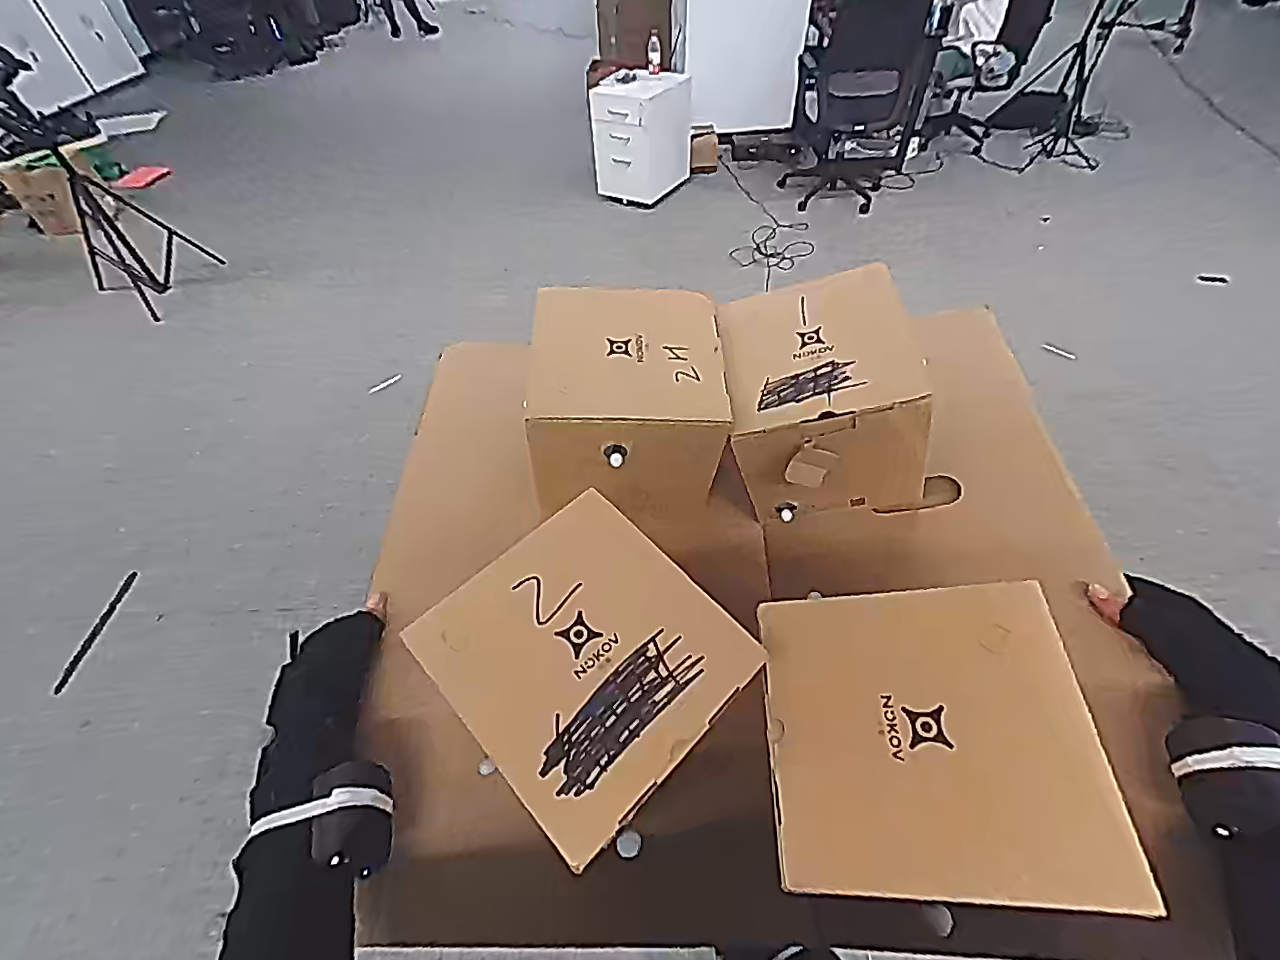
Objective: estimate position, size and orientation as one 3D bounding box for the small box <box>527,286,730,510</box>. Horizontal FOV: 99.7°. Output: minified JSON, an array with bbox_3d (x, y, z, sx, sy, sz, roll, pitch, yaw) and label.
[{"bbox_3d":[-0.014,-0.078,0.565,0.179,0.176,0.168,1,58,-4],"label":"small box"}]

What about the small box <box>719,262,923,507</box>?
[{"bbox_3d":[0.184,-0.085,0.563,0.168,0.176,0.179,-10,55,18],"label":"small box"}]
